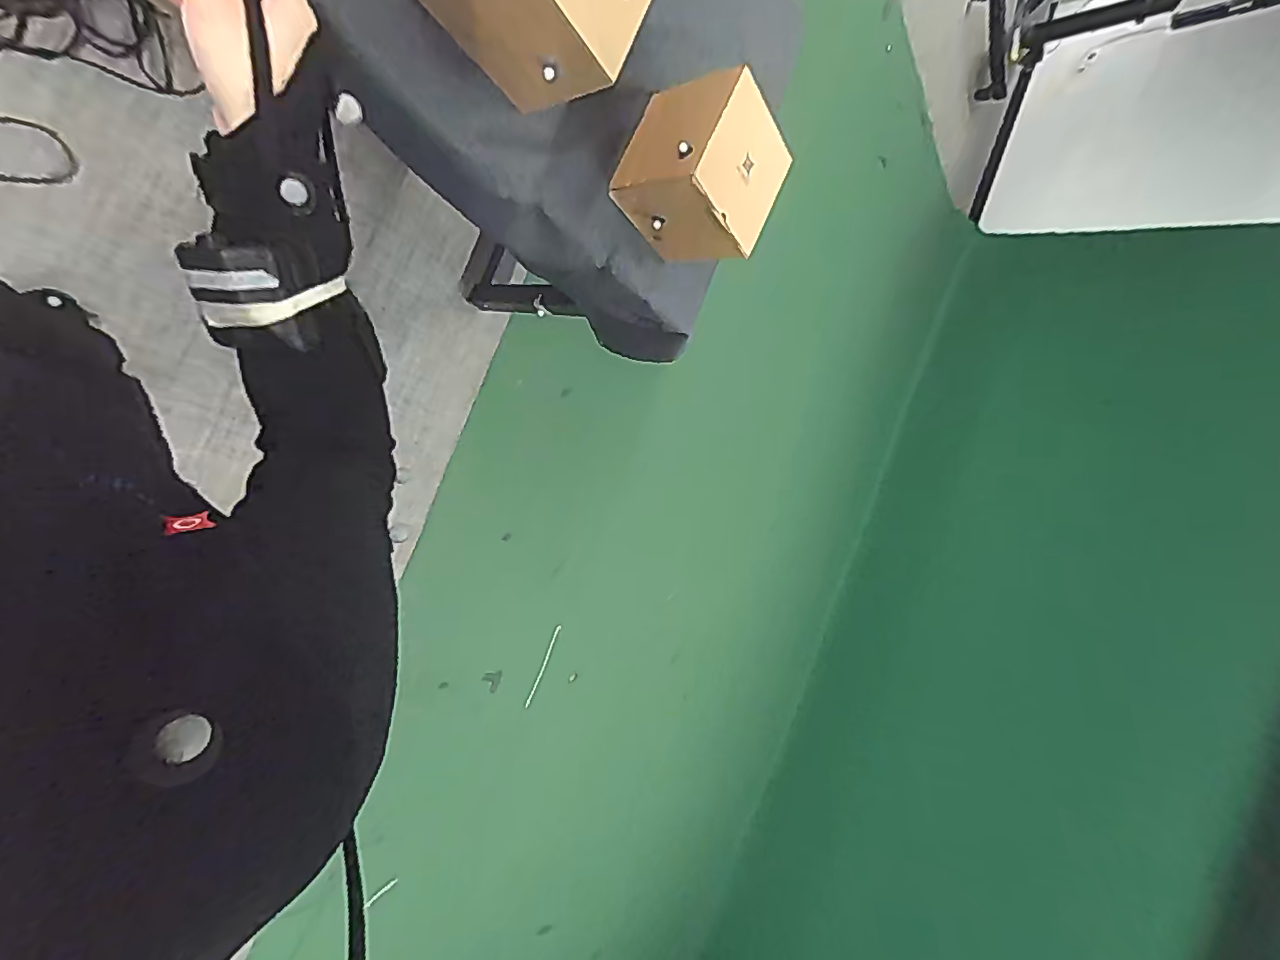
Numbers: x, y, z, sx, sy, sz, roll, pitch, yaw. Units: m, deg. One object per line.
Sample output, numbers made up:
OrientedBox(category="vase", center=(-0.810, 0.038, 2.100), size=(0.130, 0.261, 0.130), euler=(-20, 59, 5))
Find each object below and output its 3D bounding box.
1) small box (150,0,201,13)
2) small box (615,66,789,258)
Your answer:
OrientedBox(category="small box", center=(-0.266, -0.374, 0.246), size=(0.168, 0.176, 0.179), euler=(23, 97, -46))
OrientedBox(category="small box", center=(0.090, -0.458, 0.806), size=(0.168, 0.176, 0.179), euler=(31, 82, -48))
